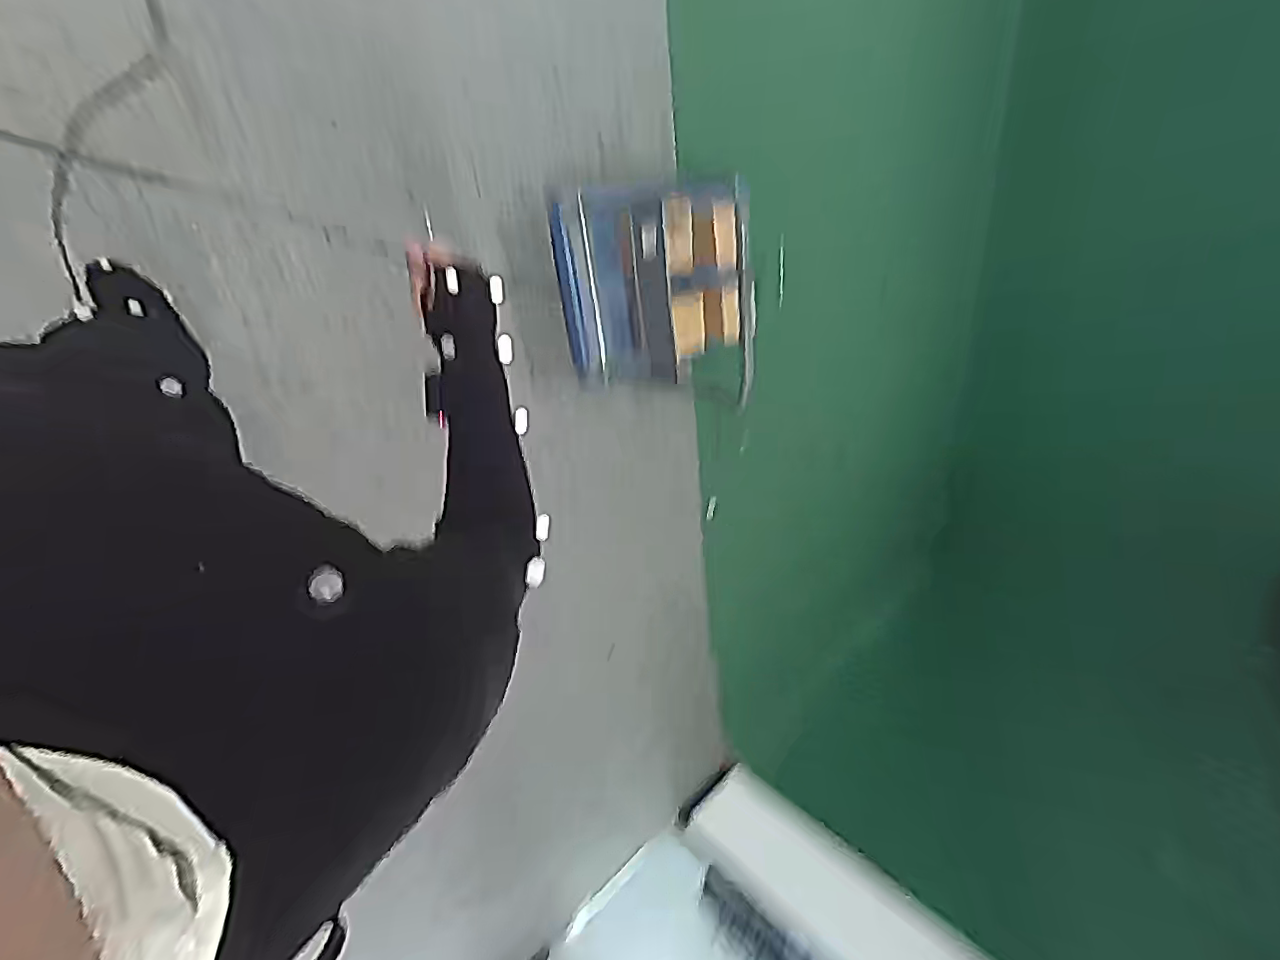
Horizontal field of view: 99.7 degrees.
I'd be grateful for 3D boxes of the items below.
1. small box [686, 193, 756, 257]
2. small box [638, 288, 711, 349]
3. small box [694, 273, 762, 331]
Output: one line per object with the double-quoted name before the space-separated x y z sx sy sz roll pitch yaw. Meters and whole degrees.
"small box" 0.271 -0.867 1.847 0.179 0.176 0.168 -30 124 -31
"small box" 0.116 -0.549 1.819 0.179 0.176 0.168 -25 120 -32
"small box" 0.319 -0.650 1.965 0.179 0.176 0.168 -30 122 -30
